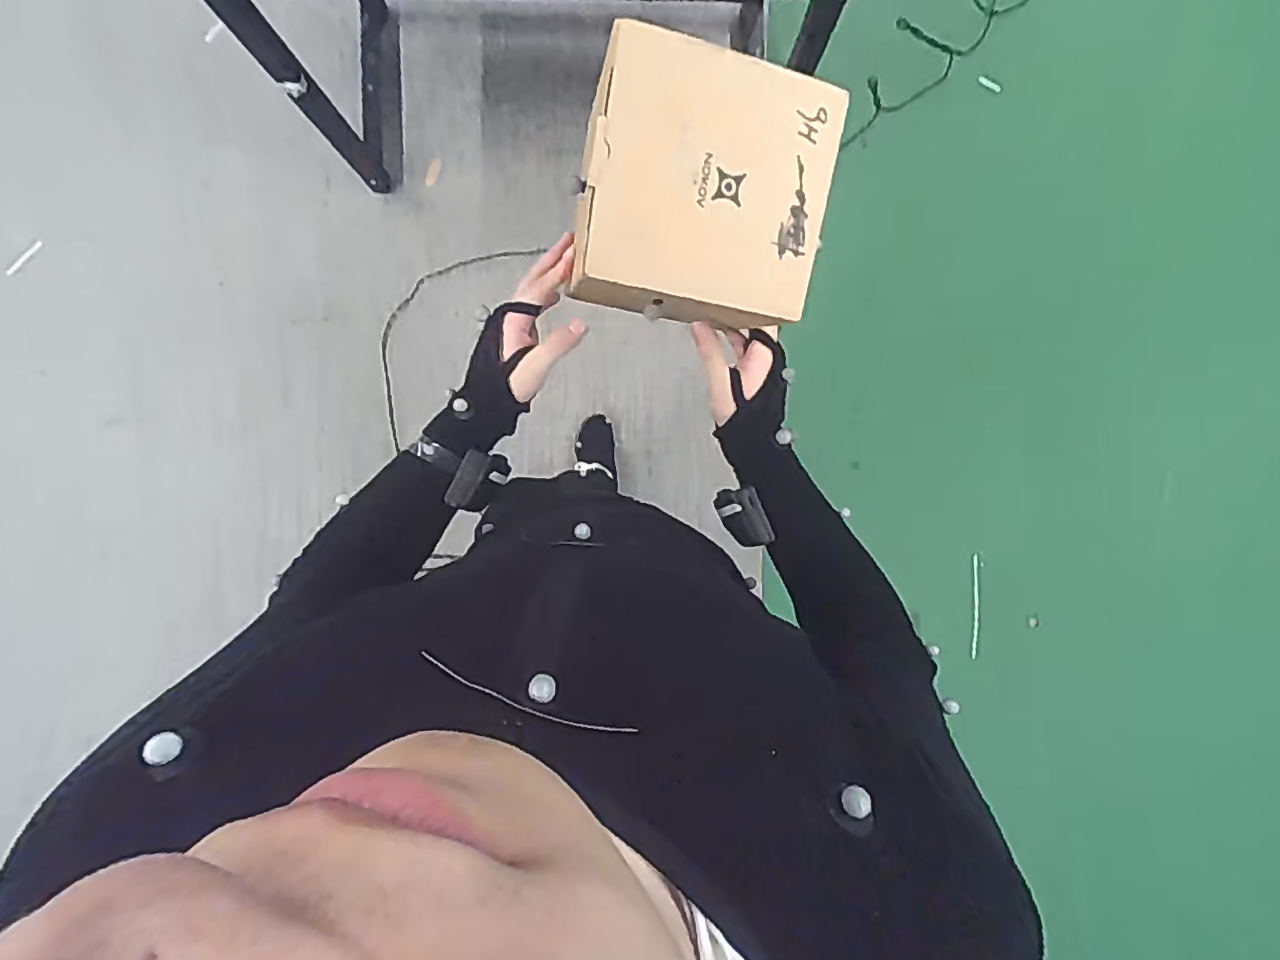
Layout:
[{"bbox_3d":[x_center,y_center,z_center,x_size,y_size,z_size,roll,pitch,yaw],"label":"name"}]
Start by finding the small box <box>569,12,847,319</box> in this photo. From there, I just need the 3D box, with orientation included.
[{"bbox_3d":[0.037,-0.235,0.460,0.179,0.176,0.168,7,103,-12],"label":"small box"}]
